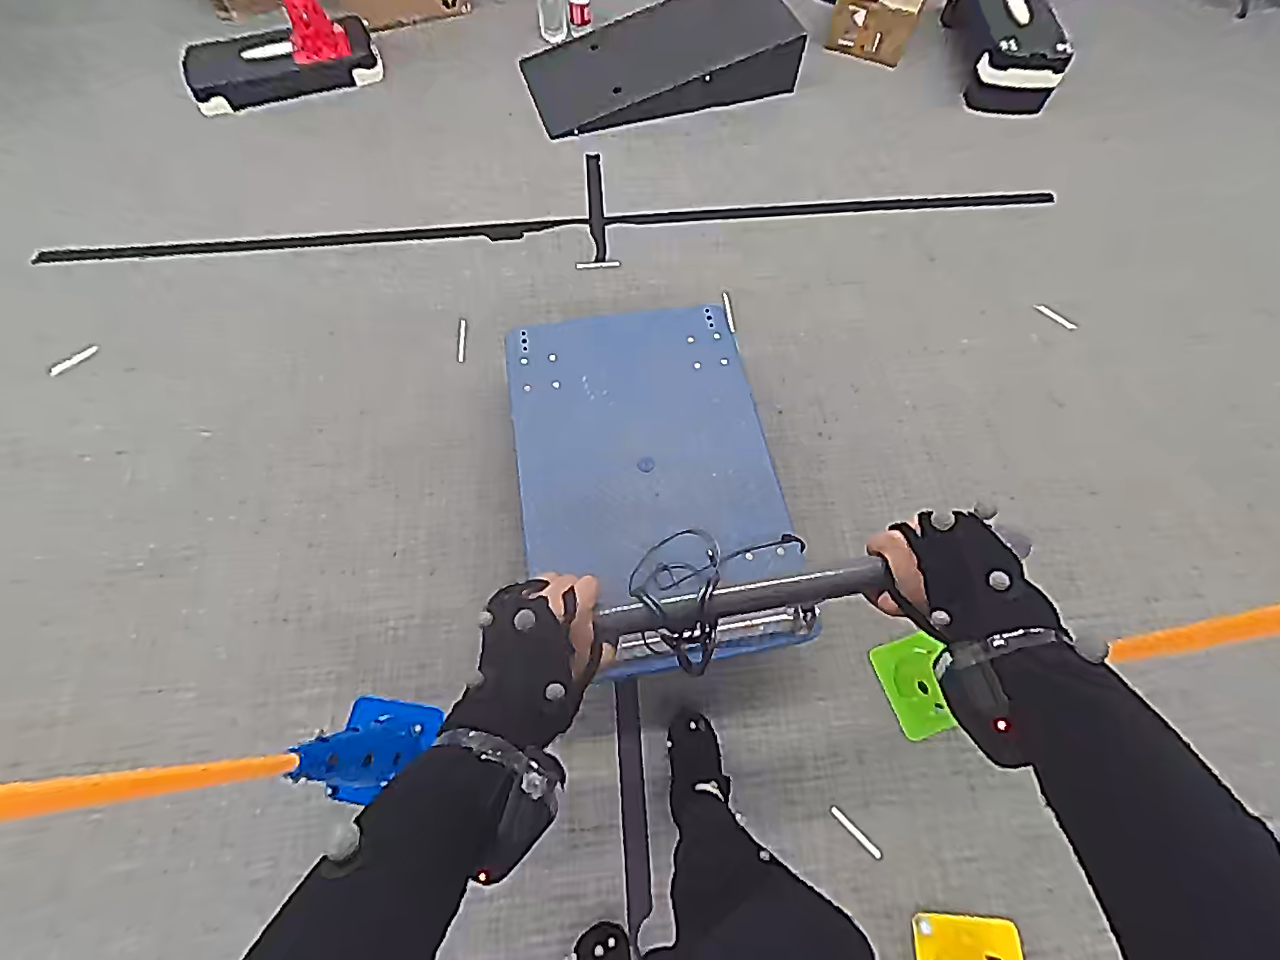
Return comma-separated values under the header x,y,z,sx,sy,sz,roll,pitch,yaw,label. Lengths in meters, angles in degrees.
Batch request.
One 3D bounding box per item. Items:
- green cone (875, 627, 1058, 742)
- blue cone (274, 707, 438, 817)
x,y,z,sx,sy,sz,roll,pitch,yaw,label
0.647,0.378,1.037,0.200,0.368,0.202,-17,68,-8,green cone
-0.525,0.513,0.971,0.193,0.380,0.192,9,66,3,blue cone
